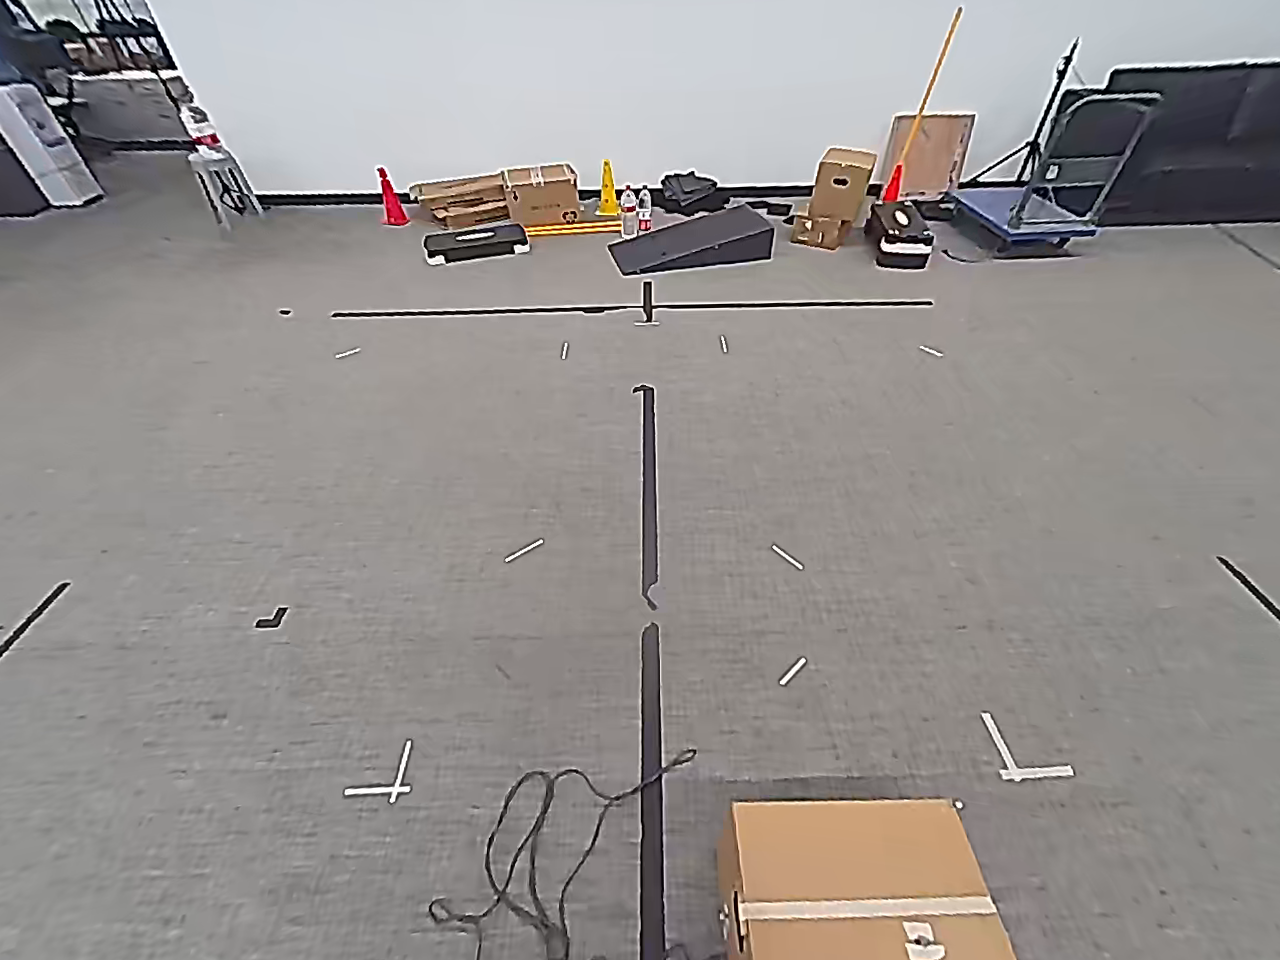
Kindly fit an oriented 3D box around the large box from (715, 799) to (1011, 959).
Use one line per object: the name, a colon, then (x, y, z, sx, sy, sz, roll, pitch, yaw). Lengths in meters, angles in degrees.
large box: (0.367, 0.801, 0.972, 0.408, 0.320, 0.320, -1, 44, -1)
